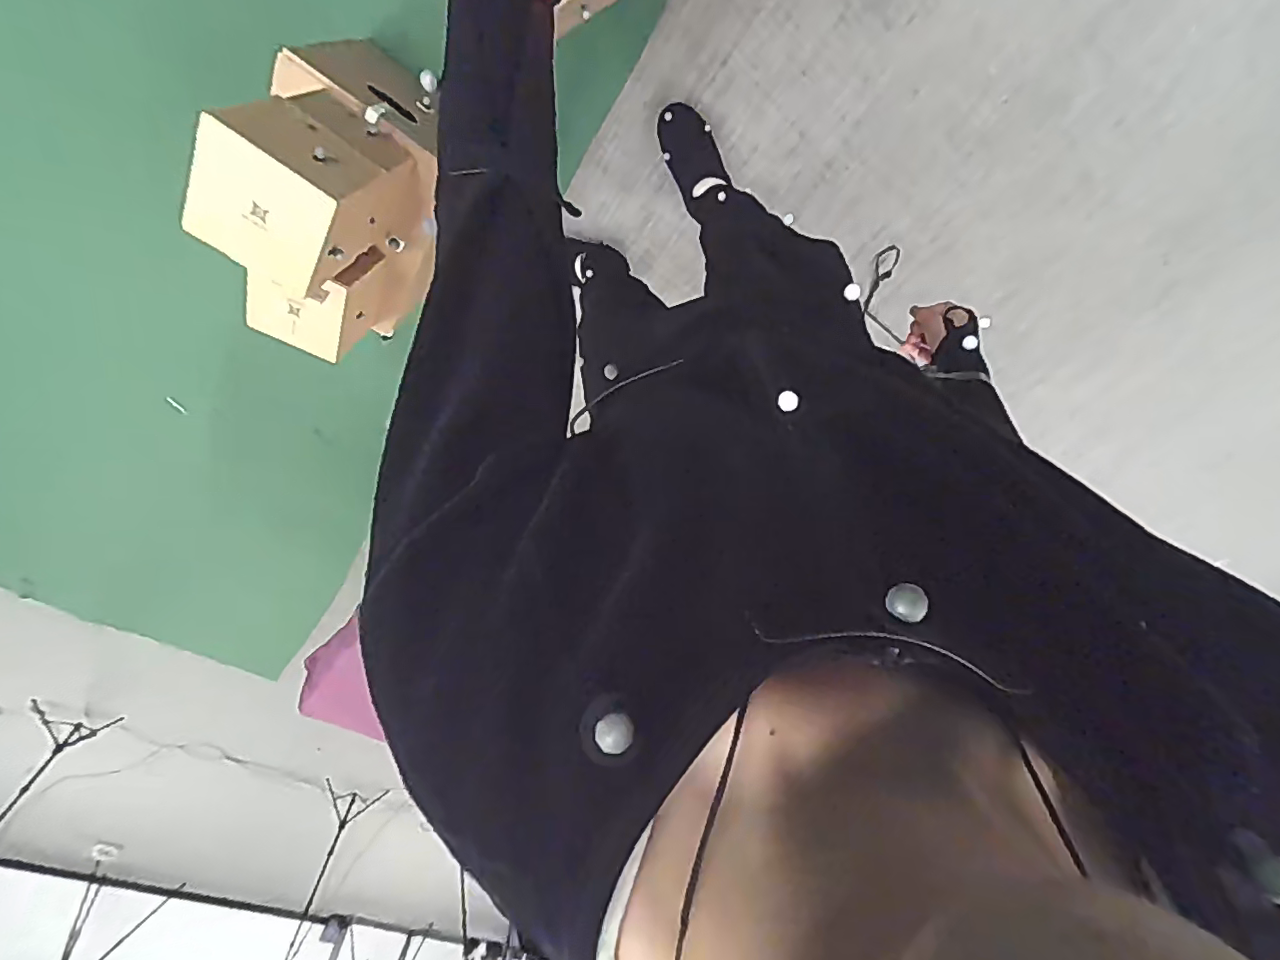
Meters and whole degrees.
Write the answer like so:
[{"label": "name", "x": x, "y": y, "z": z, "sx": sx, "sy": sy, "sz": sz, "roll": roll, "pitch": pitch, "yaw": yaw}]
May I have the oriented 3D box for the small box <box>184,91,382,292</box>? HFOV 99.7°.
[{"label": "small box", "x": -0.501, "y": -0.417, "z": 0.780, "sx": 0.168, "sy": 0.176, "sz": 0.179, "roll": 32, "pitch": 127, "yaw": -22}]
